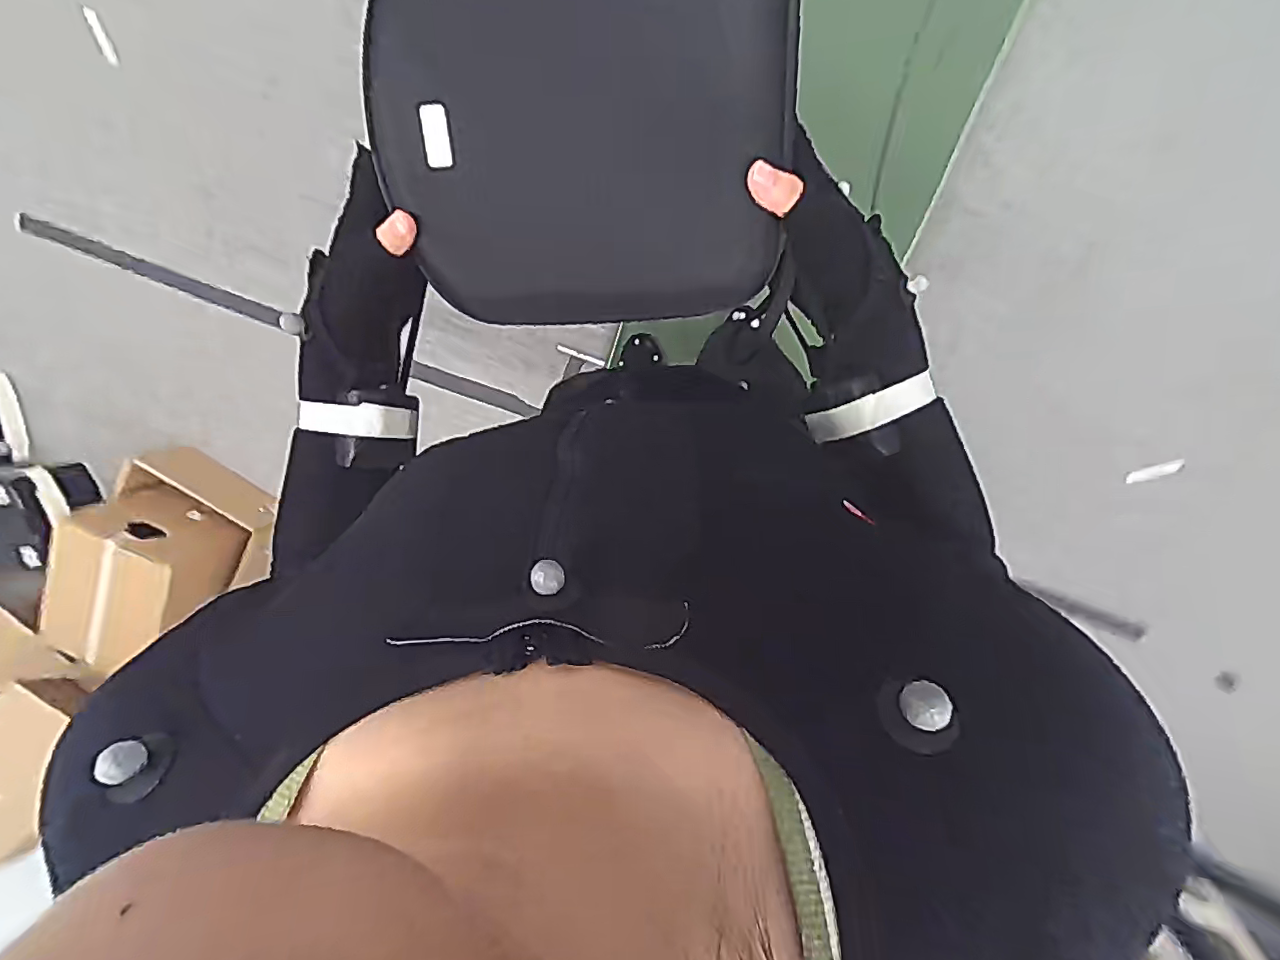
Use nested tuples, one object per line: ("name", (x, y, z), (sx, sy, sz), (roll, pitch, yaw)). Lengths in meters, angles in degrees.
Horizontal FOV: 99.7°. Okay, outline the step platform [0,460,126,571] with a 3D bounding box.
("step platform", (-2.030, 0.132, 1.691), (0.684, 0.204, 0.286), (-8, 105, 7))
